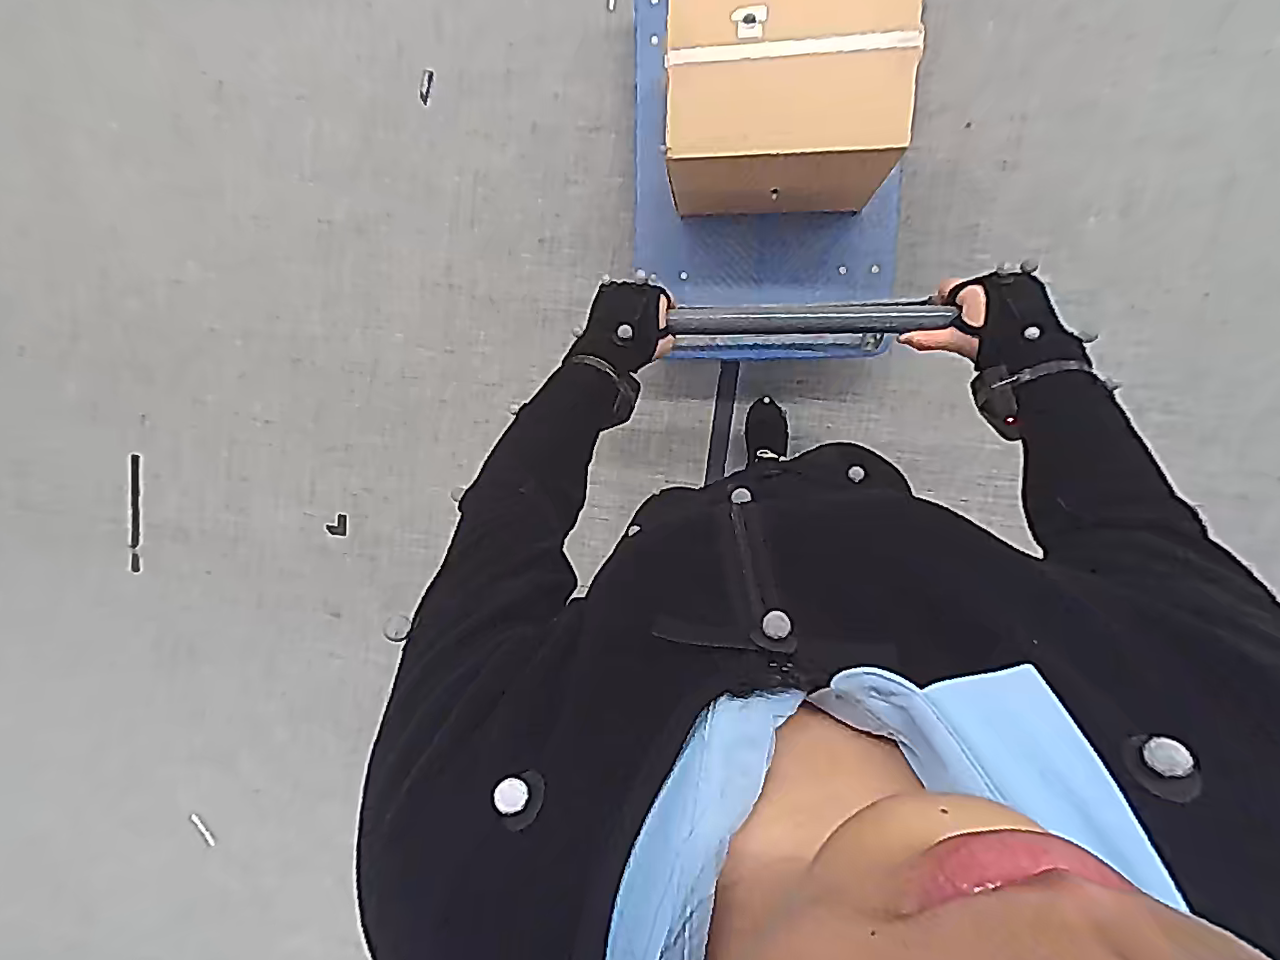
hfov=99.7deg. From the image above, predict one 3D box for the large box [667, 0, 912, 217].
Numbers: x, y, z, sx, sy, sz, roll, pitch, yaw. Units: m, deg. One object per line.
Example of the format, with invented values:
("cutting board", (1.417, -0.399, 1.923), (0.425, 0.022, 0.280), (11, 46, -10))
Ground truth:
("large box", (0.271, -0.730, 1.059), (0.408, 0.320, 0.320), (2, 98, 9))
